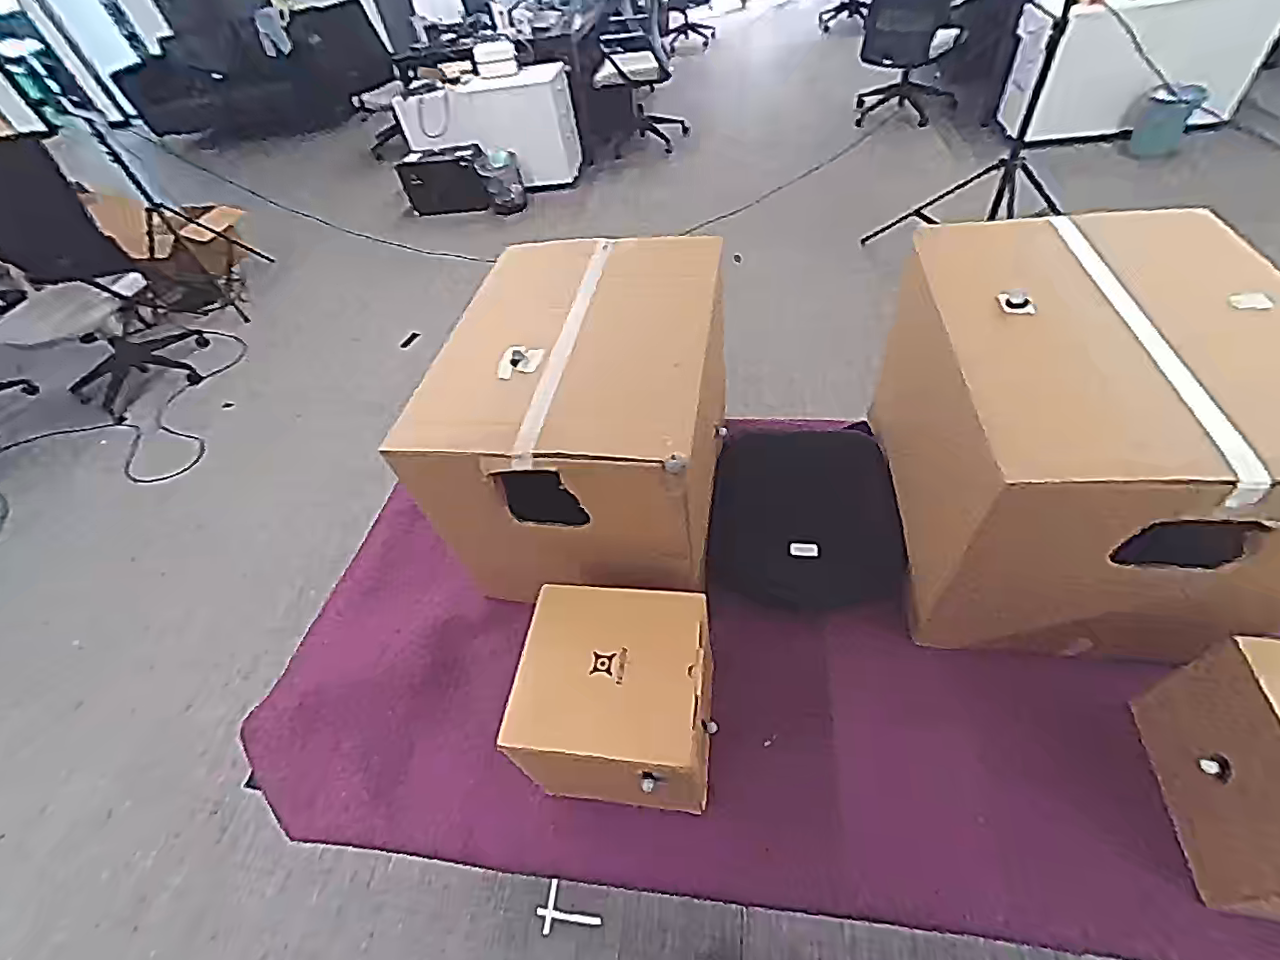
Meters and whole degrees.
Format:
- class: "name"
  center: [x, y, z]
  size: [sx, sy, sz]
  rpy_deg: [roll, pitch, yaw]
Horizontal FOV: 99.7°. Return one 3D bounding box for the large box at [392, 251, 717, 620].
- class: "large box"
  center: [-0.058, -0.066, 0.751]
  size: [0.320, 0.320, 0.408]
  rpy_deg: [2, 52, 12]
